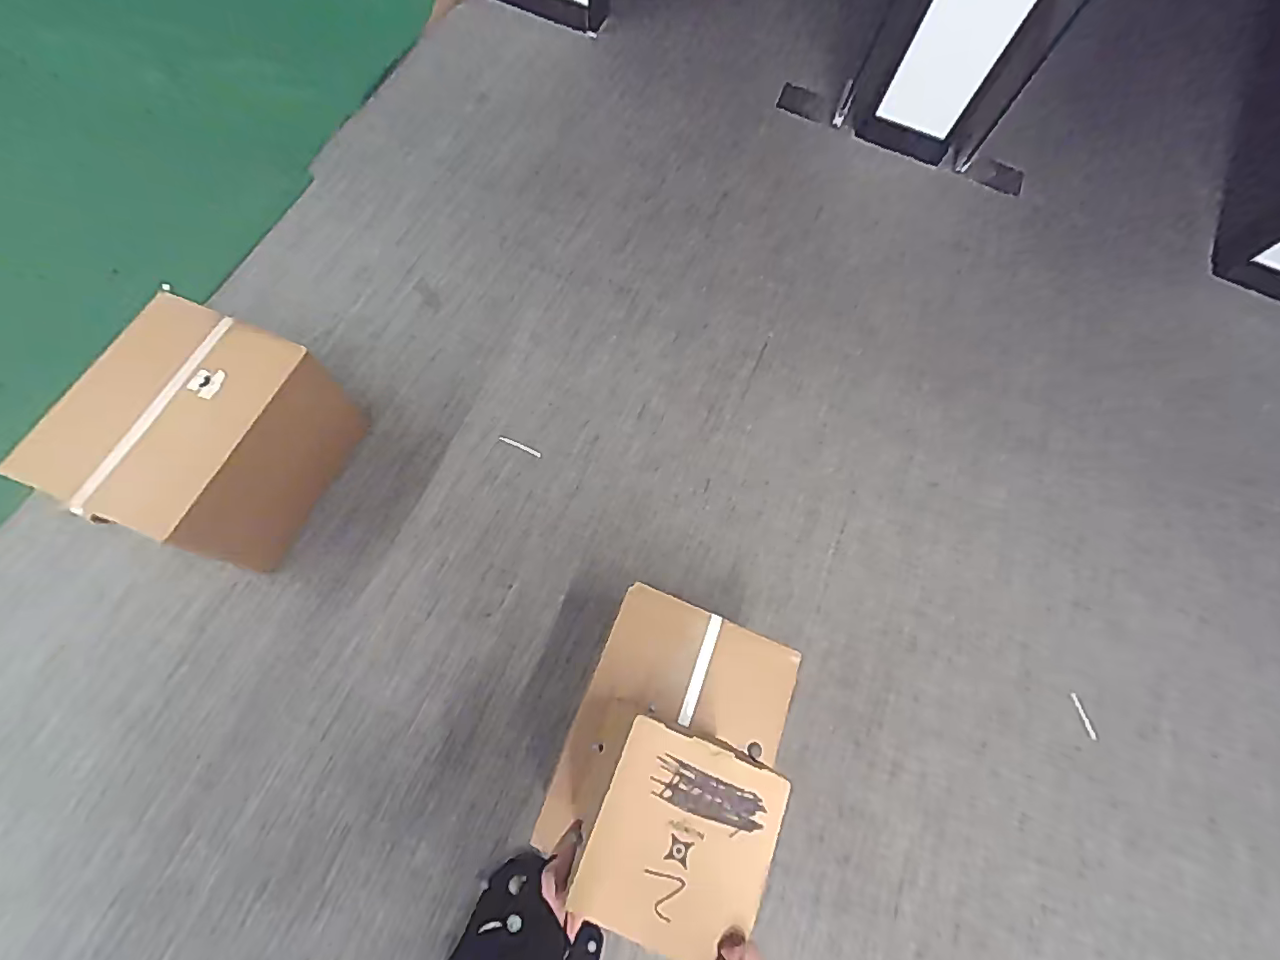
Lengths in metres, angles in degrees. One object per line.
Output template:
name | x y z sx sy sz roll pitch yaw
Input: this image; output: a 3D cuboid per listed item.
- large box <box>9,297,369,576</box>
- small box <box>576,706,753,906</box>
large box | -0.835 -0.069 1.080 0.320 0.320 0.408 22 69 3
small box | 0.027 0.418 0.730 0.179 0.176 0.168 22 70 2
